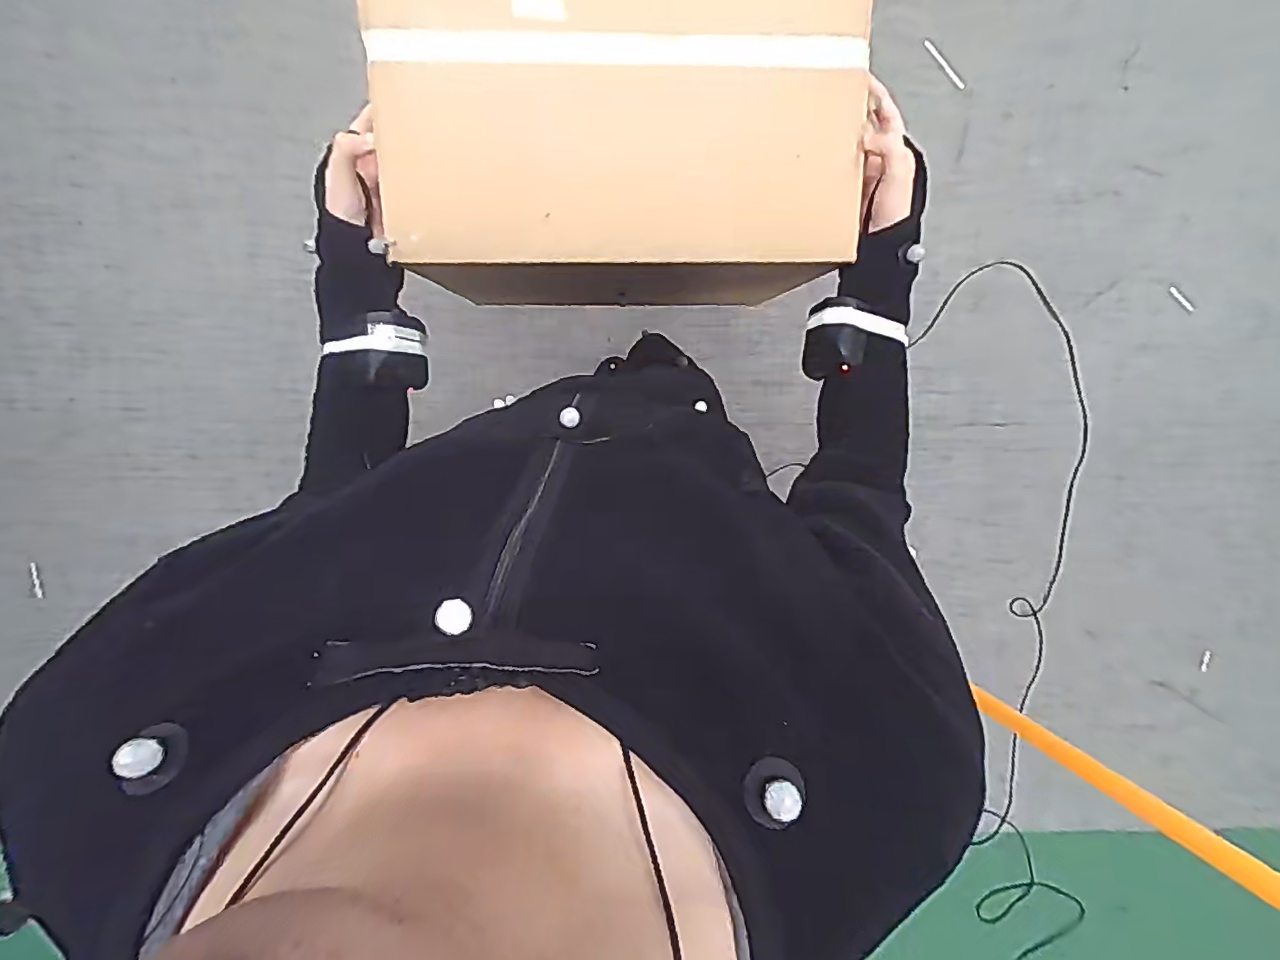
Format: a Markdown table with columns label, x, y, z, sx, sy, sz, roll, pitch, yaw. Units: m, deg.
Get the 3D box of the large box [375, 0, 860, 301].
| label | x | y | z | sx | sy | sz | roll | pitch | yaw |
| --- | --- | --- | --- | --- | --- | --- | --- | --- | --- |
| large box | -0.020 | -0.374 | 0.595 | 0.408 | 0.320 | 0.320 | -1 | 101 | -3 |
